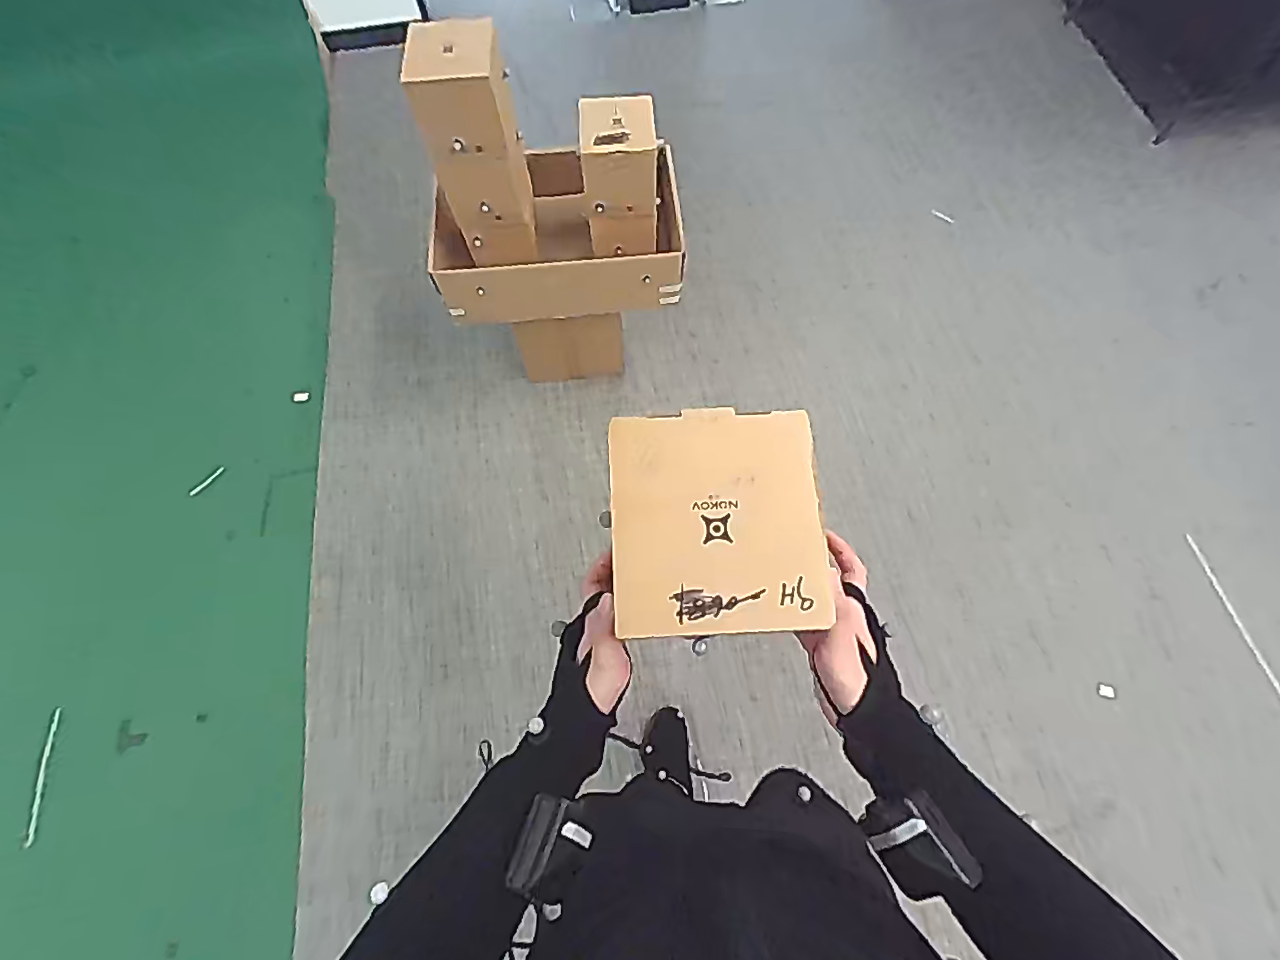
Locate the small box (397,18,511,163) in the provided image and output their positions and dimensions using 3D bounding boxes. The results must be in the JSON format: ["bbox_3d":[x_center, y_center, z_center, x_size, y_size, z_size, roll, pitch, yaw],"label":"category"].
[{"bbox_3d":[-0.362,-0.774,1.082,0.168,0.176,0.179,-4,69,1],"label":"small box"}]

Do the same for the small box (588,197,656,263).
[{"bbox_3d":[-0.049,-0.691,1.394,0.168,0.176,0.179,-5,70,-1],"label":"small box"}]

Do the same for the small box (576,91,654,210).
[{"bbox_3d":[-0.054,-0.744,1.238,0.168,0.176,0.179,-4,69,-1],"label":"small box"}]

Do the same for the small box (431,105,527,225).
[{"bbox_3d":[-0.358,-0.715,1.234,0.168,0.176,0.179,-4,69,1],"label":"small box"}]

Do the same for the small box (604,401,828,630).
[{"bbox_3d":[0.054,0.043,0.494,0.168,0.176,0.179,-3,75,0],"label":"small box"}]
